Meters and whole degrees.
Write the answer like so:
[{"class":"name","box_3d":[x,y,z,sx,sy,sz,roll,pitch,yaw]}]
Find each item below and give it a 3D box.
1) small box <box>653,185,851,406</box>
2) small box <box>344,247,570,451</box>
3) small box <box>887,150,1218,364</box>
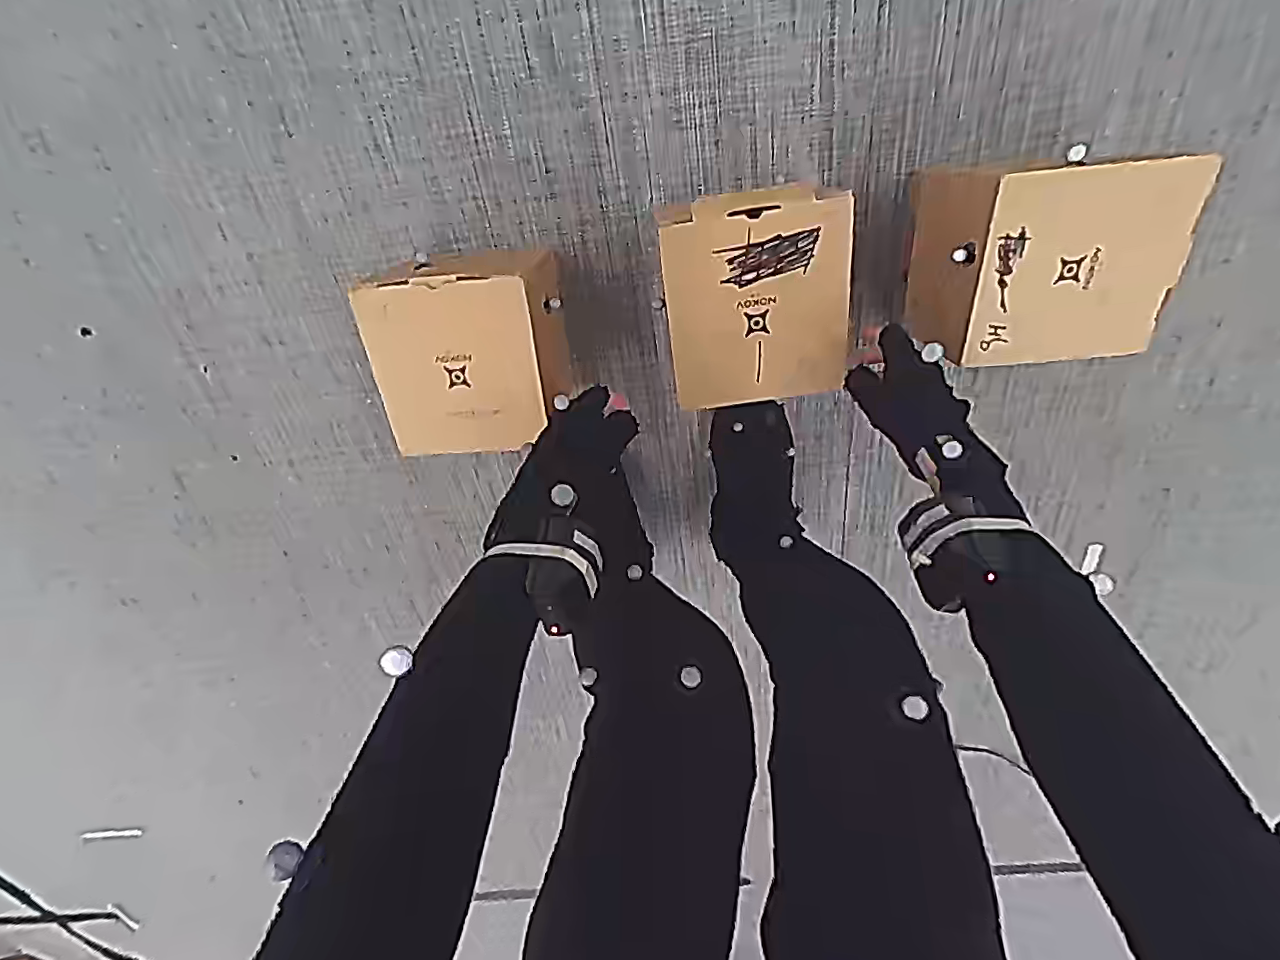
[{"class":"small box","box_3d":[0.104,-0.196,0.558,0.168,0.176,0.179,-7,121,5]},{"class":"small box","box_3d":[-0.177,-0.149,0.590,0.168,0.176,0.179,-3,122,5]},{"class":"small box","box_3d":[0.379,-0.228,0.540,0.179,0.176,0.168,-5,121,2]}]
